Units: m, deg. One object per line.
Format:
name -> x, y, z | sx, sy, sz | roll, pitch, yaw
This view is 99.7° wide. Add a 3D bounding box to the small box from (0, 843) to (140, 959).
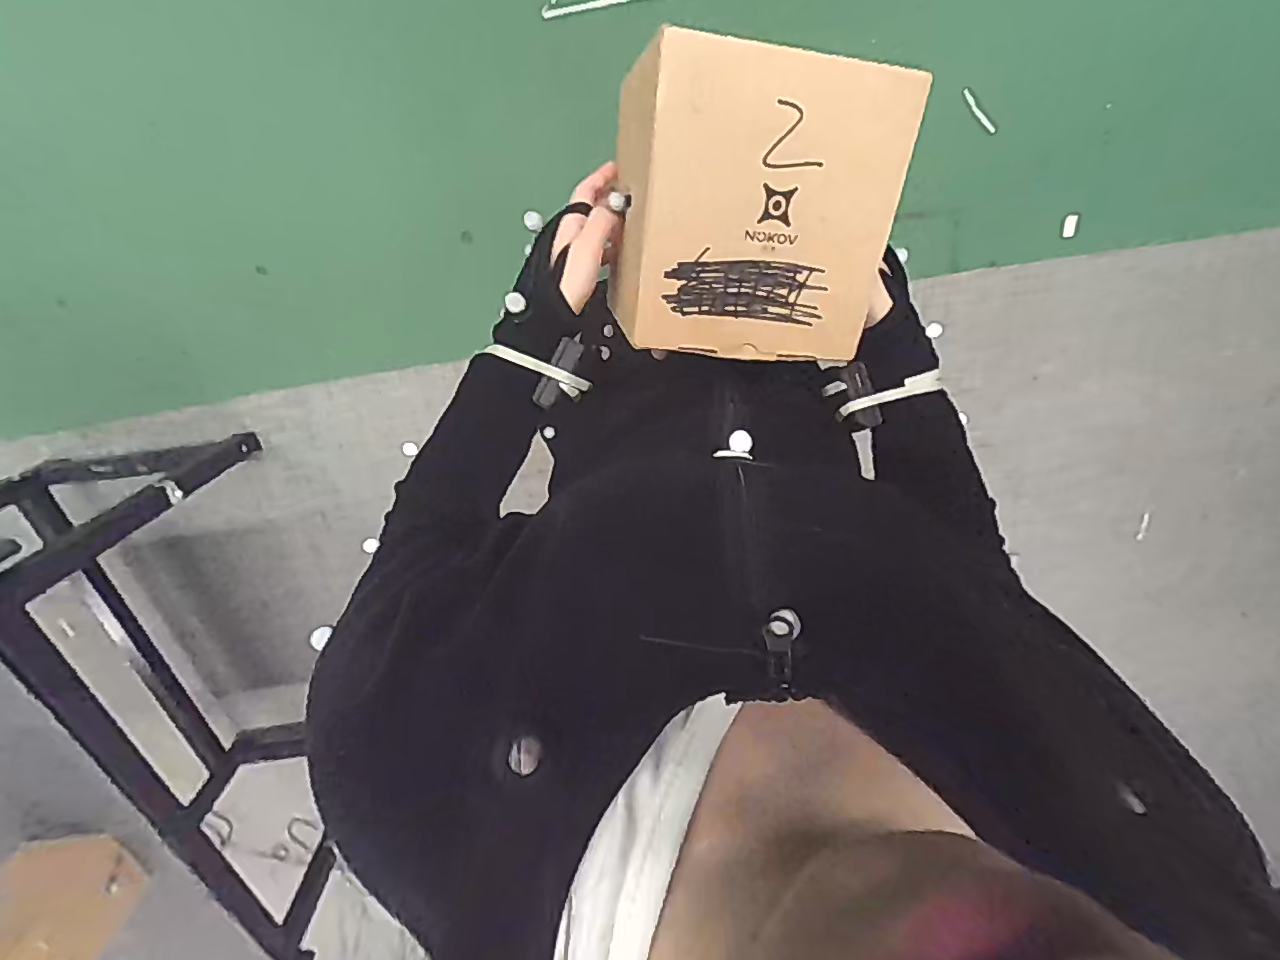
small box -> -1.099, 0.804, 0.993 | 0.179, 0.176, 0.168 | -7, 116, 1
